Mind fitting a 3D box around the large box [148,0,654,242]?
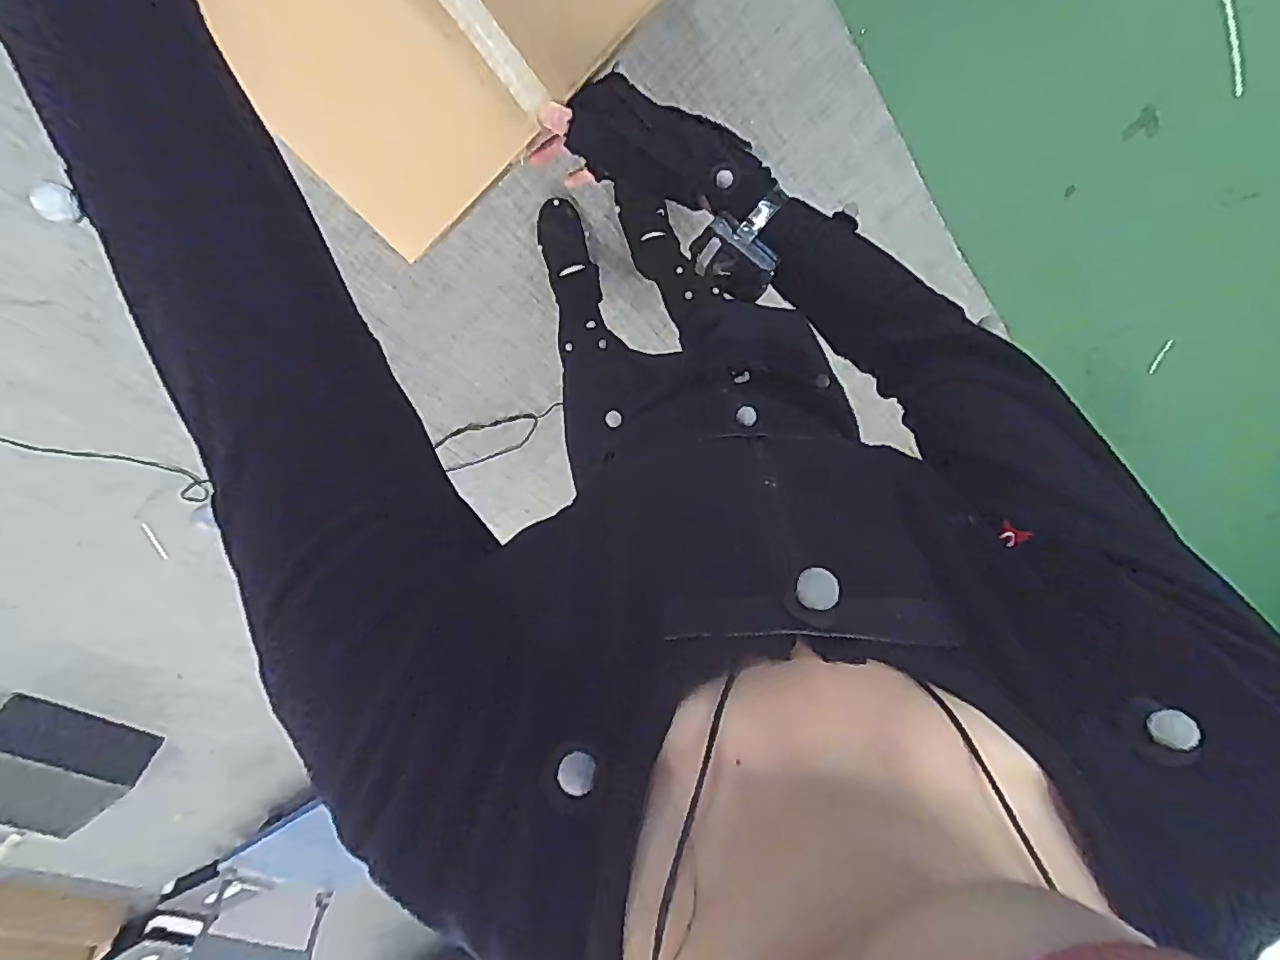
[{"bbox_3d":[-0.214,-0.478,0.434,0.320,0.320,0.408,-38,119,16],"label":"large box"}]
